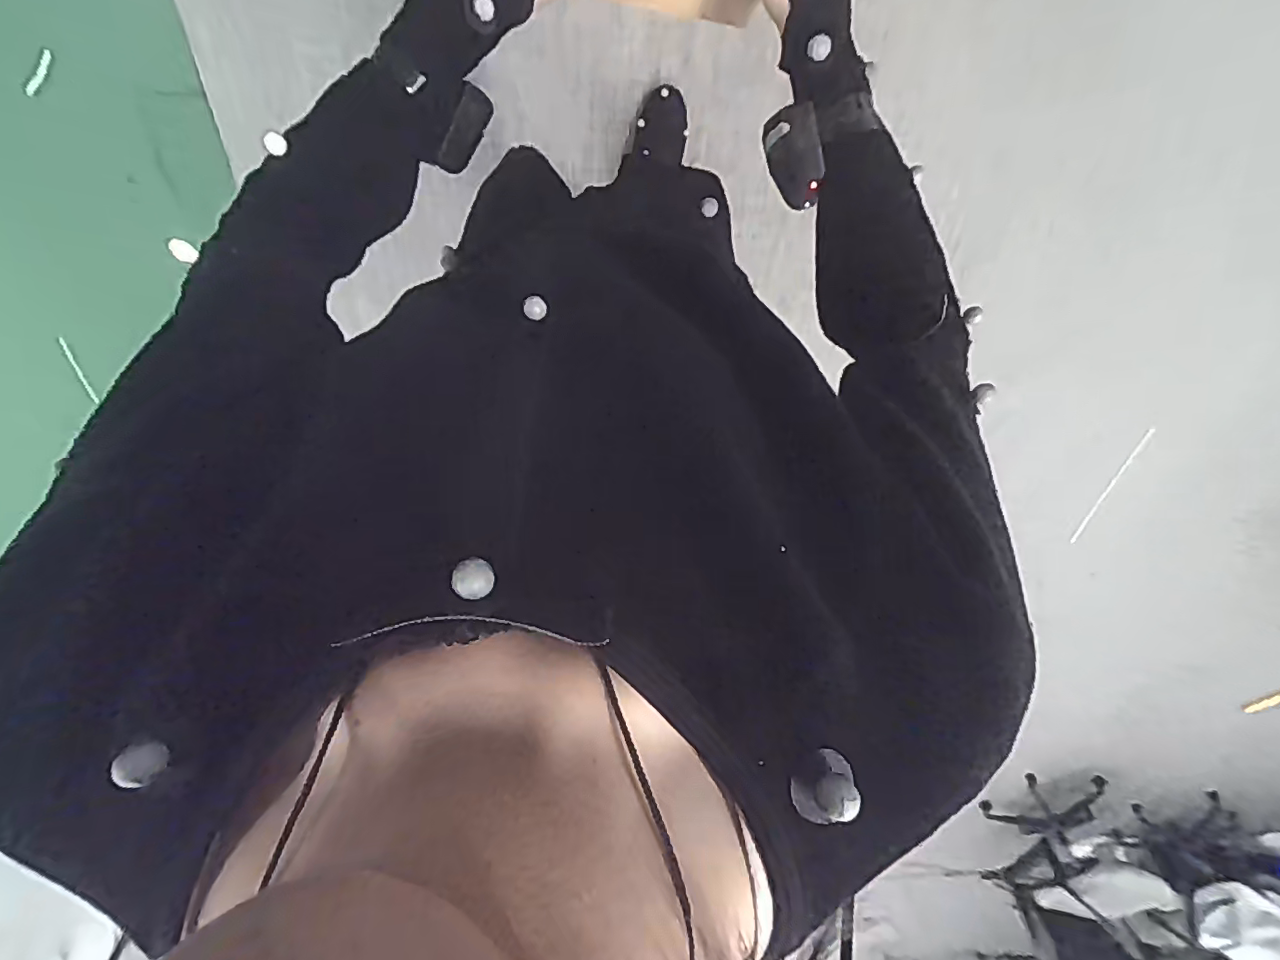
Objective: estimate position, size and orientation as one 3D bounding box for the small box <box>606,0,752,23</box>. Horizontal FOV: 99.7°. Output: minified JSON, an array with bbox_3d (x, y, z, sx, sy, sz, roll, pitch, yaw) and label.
[{"bbox_3d":[0.013,-0.485,0.386,0.179,0.176,0.168,-5,162,-17],"label":"small box"}]
